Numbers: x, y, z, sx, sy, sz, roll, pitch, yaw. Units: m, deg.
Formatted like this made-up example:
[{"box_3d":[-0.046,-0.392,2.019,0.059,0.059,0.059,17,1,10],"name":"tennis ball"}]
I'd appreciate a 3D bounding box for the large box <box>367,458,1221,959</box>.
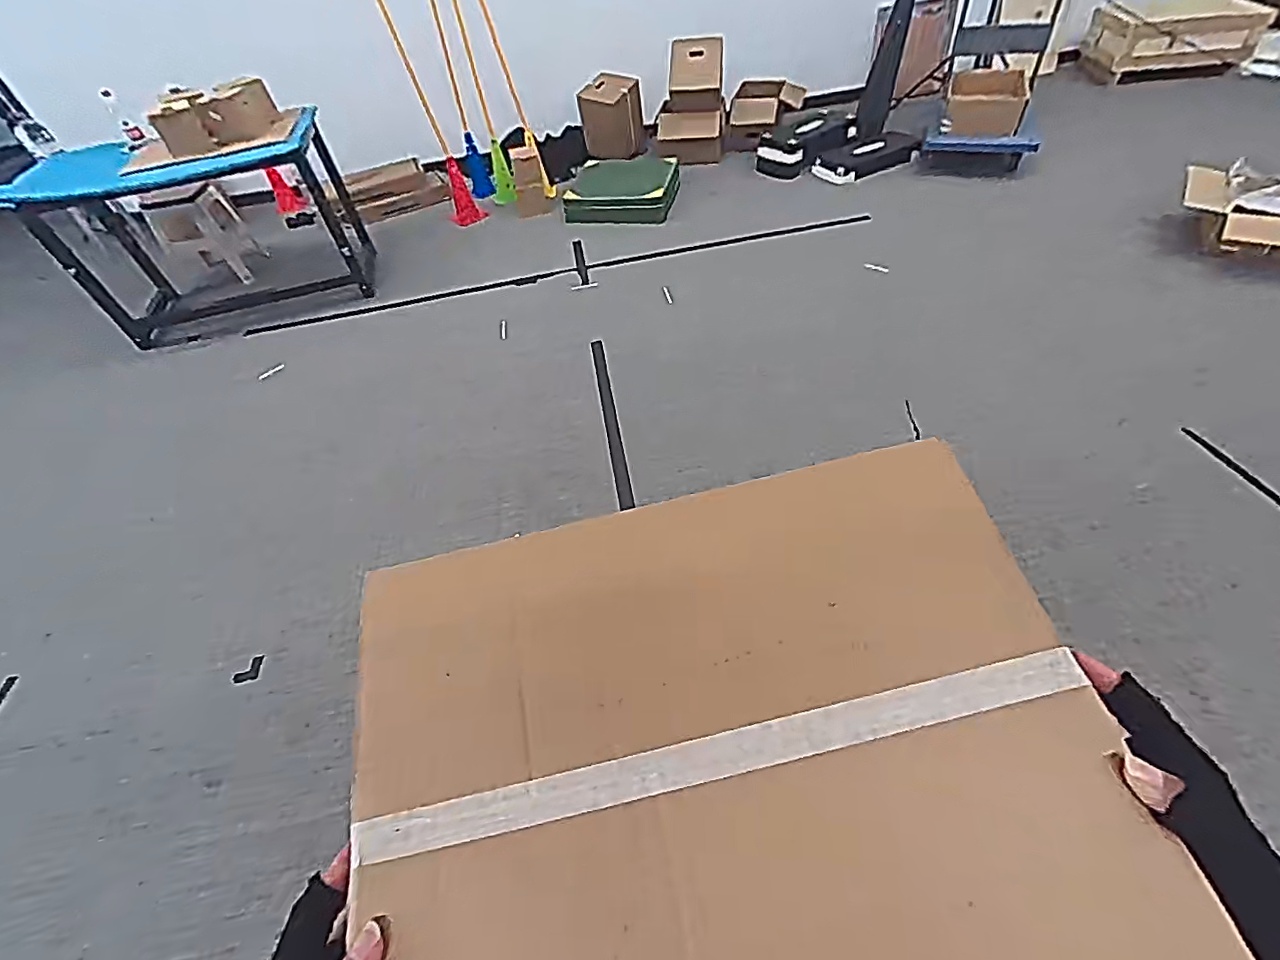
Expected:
[{"box_3d":[0.061,0.229,0.432,0.408,0.320,0.320,-14,60,-1],"name":"large box"}]
